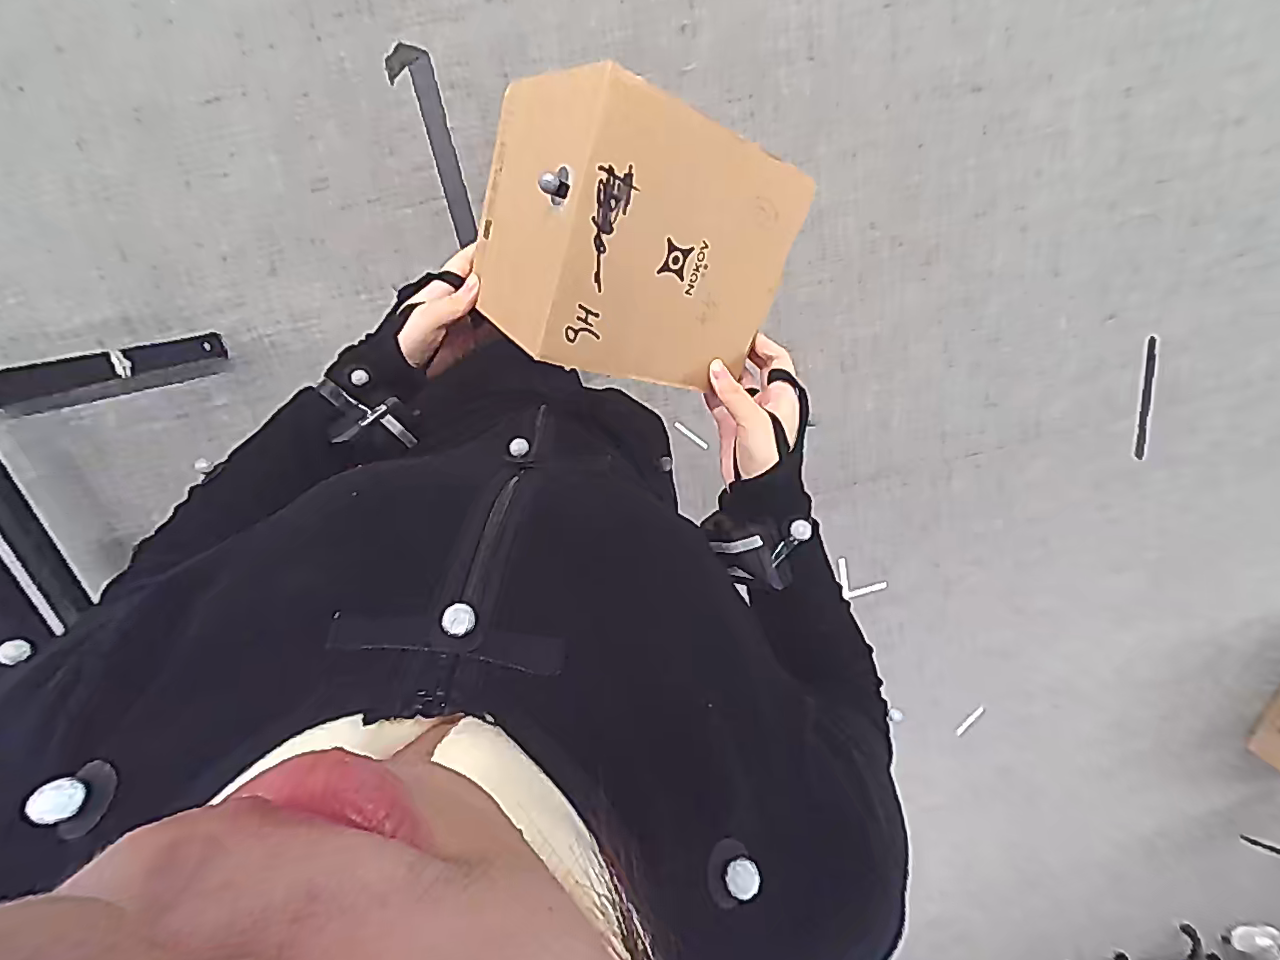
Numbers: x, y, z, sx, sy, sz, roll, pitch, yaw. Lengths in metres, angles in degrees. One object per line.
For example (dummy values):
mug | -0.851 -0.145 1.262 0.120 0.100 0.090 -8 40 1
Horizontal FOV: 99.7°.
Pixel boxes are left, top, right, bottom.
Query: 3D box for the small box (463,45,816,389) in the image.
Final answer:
small box | -0.012 -0.185 0.408 0.179 0.176 0.168 4 115 -37
